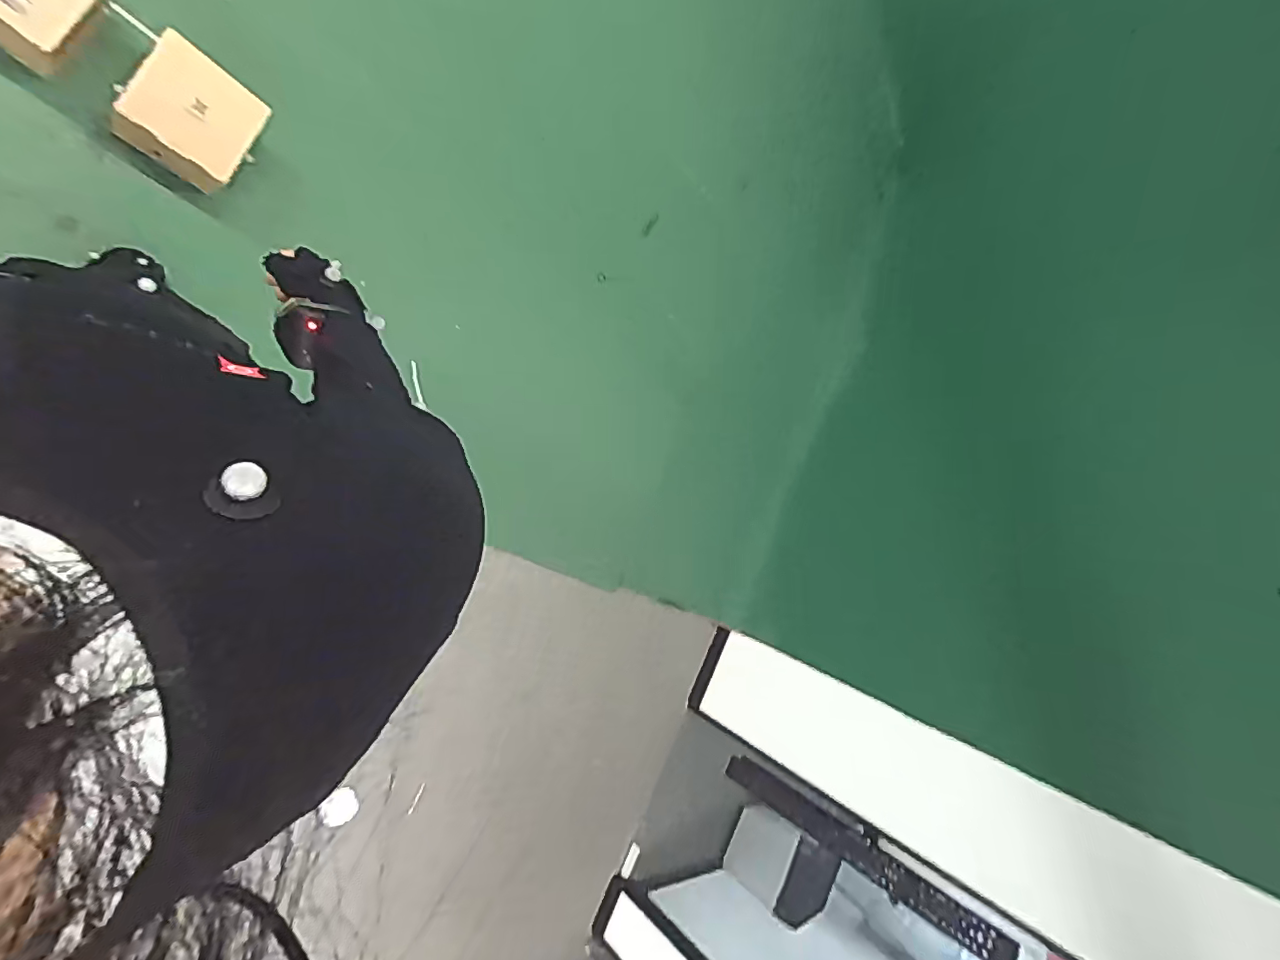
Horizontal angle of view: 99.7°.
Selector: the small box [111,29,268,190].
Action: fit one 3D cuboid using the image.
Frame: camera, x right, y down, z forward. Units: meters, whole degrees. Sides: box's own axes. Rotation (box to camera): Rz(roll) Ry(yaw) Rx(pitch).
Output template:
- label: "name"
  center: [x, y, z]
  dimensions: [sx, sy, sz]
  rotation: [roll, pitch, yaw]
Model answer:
- label: "small box"
  center: [-0.852, -0.683, 1.018]
  dimensions: [0.168, 0.176, 0.179]
  rotation: [34, 79, -48]
